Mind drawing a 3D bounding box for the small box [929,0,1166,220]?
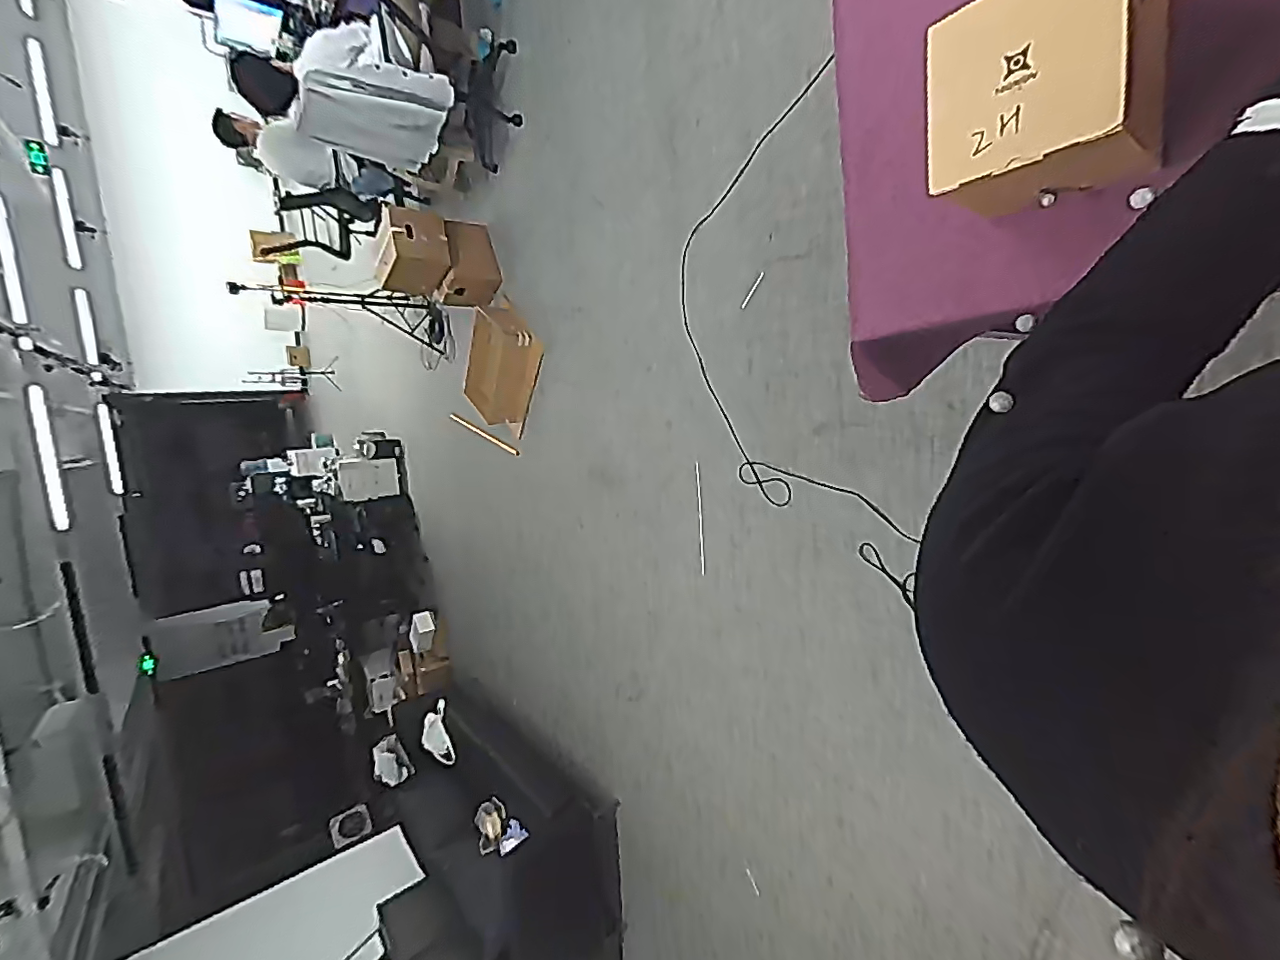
[{"bbox_3d":[0.430,-0.404,0.576,0.168,0.176,0.179,4,100,52],"label":"small box"}]
